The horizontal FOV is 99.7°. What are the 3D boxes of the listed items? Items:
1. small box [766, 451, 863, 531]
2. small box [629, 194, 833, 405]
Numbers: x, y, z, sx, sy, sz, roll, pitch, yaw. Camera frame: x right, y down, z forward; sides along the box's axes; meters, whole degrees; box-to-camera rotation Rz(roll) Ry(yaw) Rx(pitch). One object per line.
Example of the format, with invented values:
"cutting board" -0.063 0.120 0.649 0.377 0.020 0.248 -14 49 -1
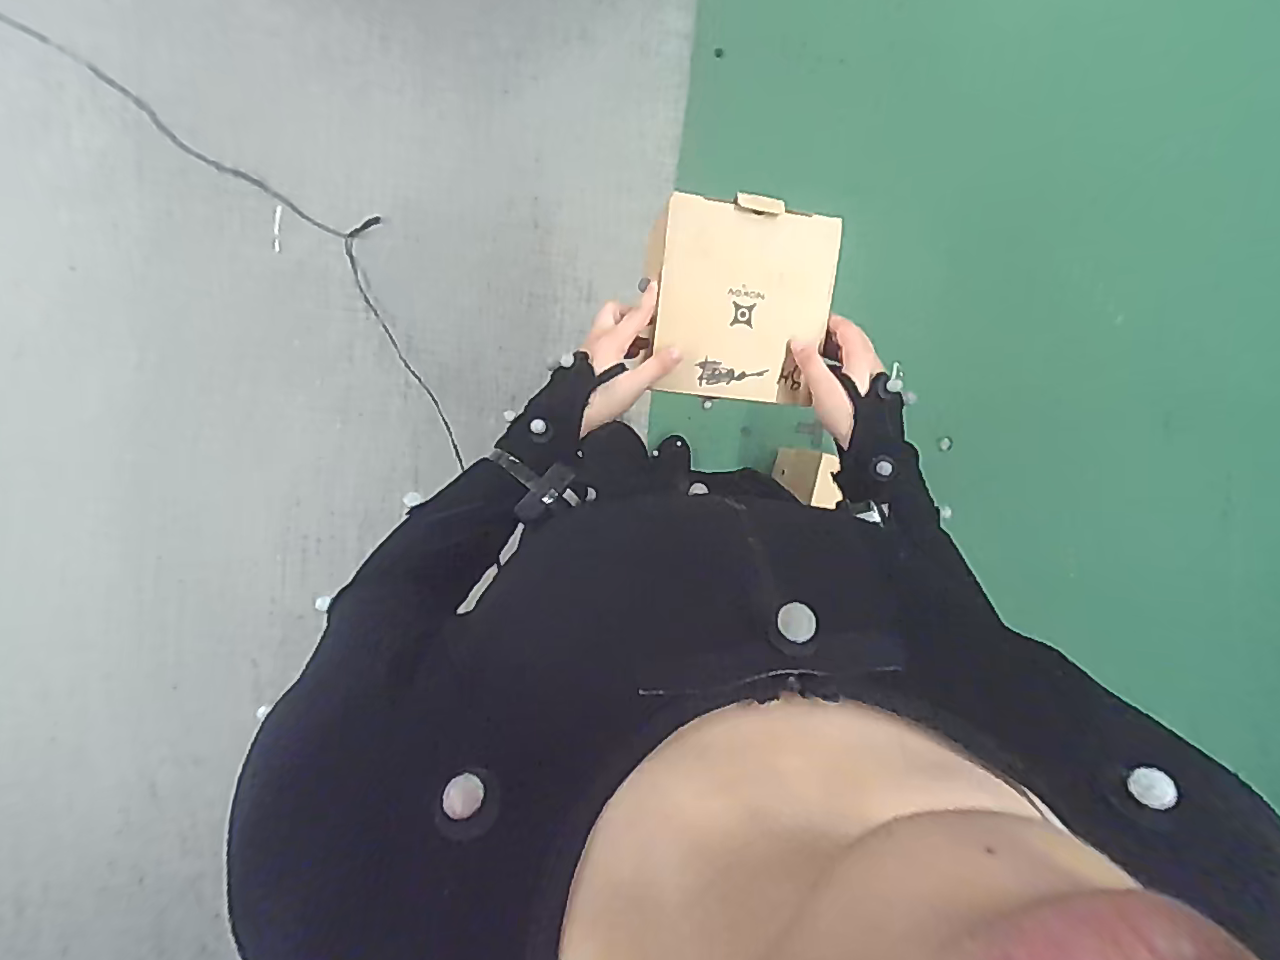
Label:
"small box" 0.446 0.022 1.416 0.179 0.176 0.168 13 96 -4
"small box" 0.081 -0.178 0.579 0.168 0.176 0.179 3 101 -7
